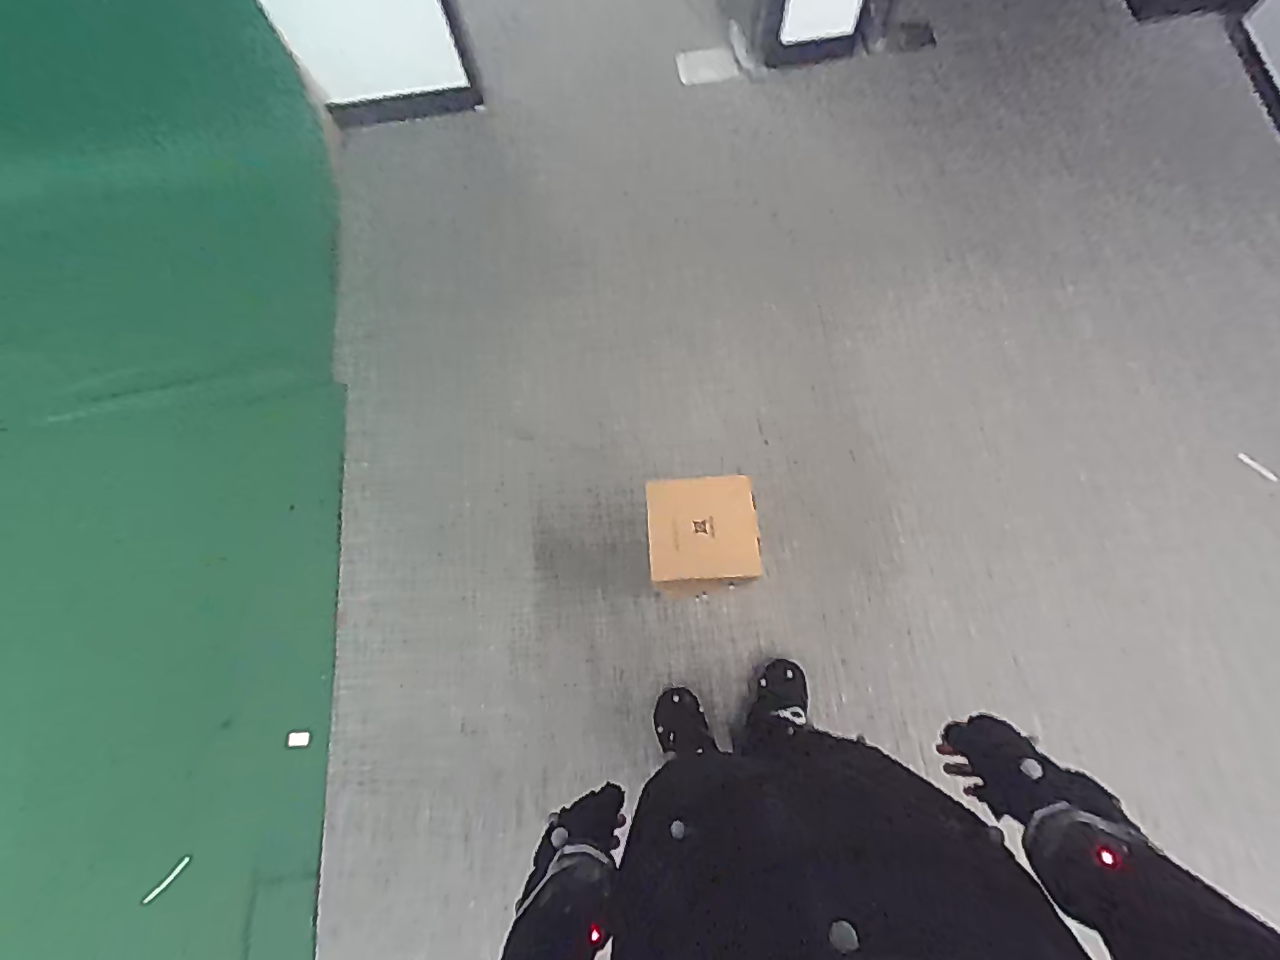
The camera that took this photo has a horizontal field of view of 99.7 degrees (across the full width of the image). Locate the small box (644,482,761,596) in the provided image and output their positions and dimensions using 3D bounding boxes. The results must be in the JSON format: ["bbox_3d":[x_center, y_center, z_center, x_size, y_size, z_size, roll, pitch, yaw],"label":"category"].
[{"bbox_3d":[0.102,0.108,0.939,0.179,0.176,0.168,-5,73,3],"label":"small box"}]
